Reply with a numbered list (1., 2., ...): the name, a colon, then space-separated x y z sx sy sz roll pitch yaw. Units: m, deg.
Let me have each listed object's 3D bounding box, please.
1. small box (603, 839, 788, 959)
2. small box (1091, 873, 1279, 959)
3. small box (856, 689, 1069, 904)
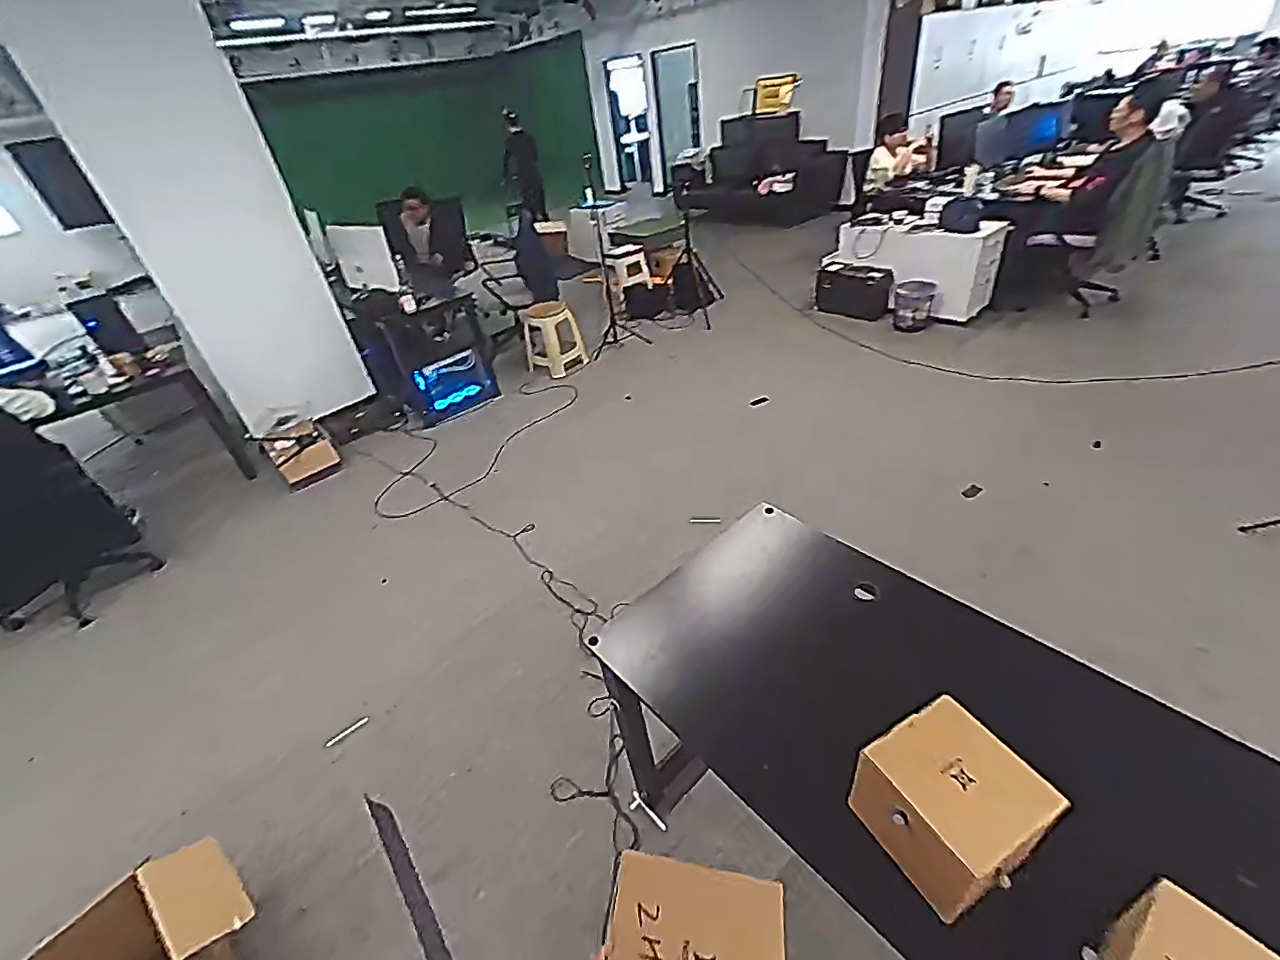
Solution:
1. small box: 0.050 0.512 0.570 0.179 0.176 0.168 9 41 5
2. small box: 0.575 0.558 0.540 0.168 0.176 0.179 -30 40 -27
3. small box: 0.424 0.437 0.743 0.168 0.176 0.179 -23 37 -18
